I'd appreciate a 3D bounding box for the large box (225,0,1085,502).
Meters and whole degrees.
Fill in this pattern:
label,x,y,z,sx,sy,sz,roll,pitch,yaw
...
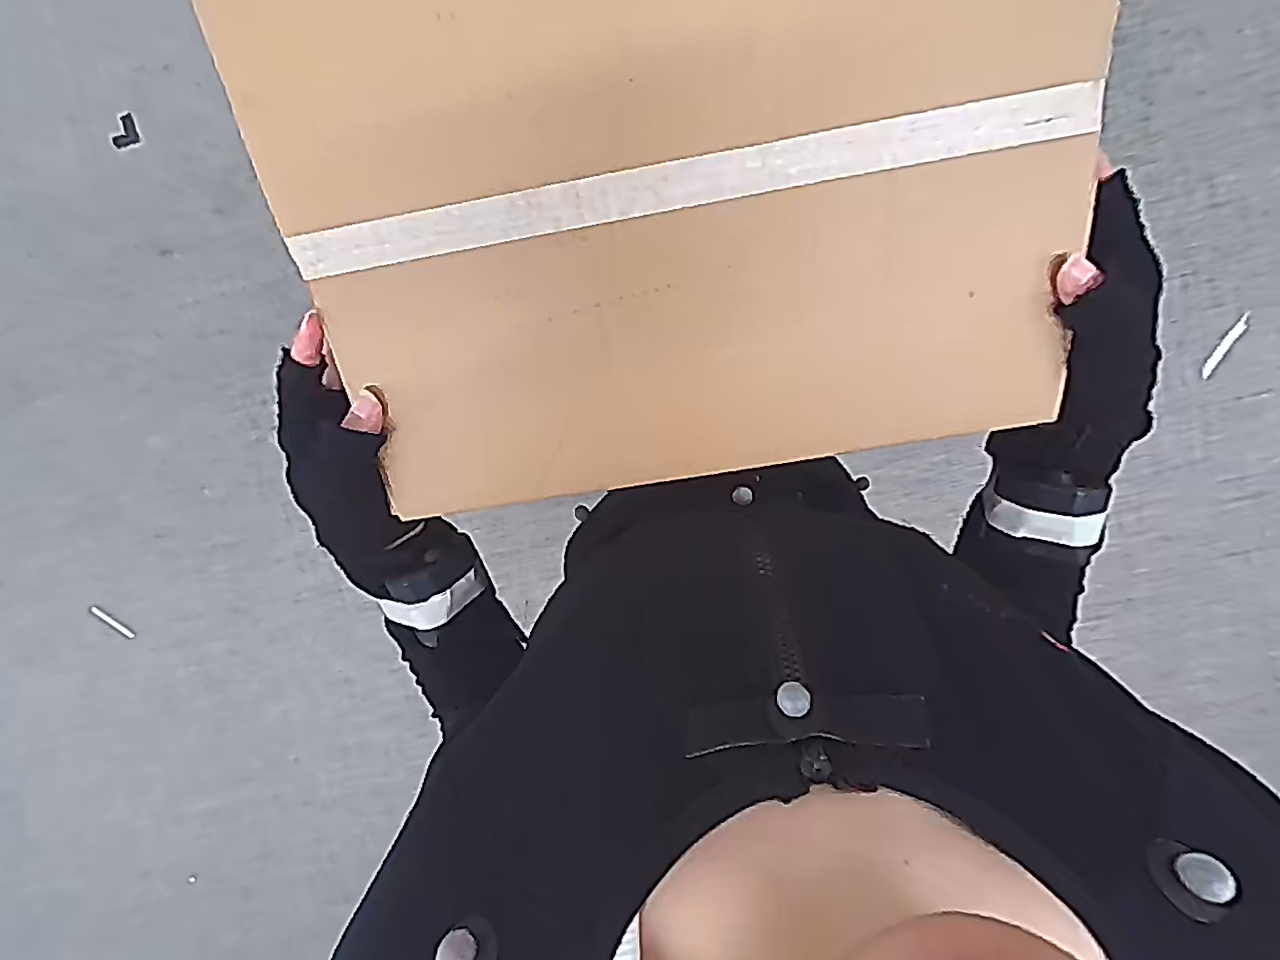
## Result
label,x,y,z,sx,sy,sz,roll,pitch,yaw
large box,0.017,-0.212,0.421,0.408,0.320,0.320,-9,114,3
